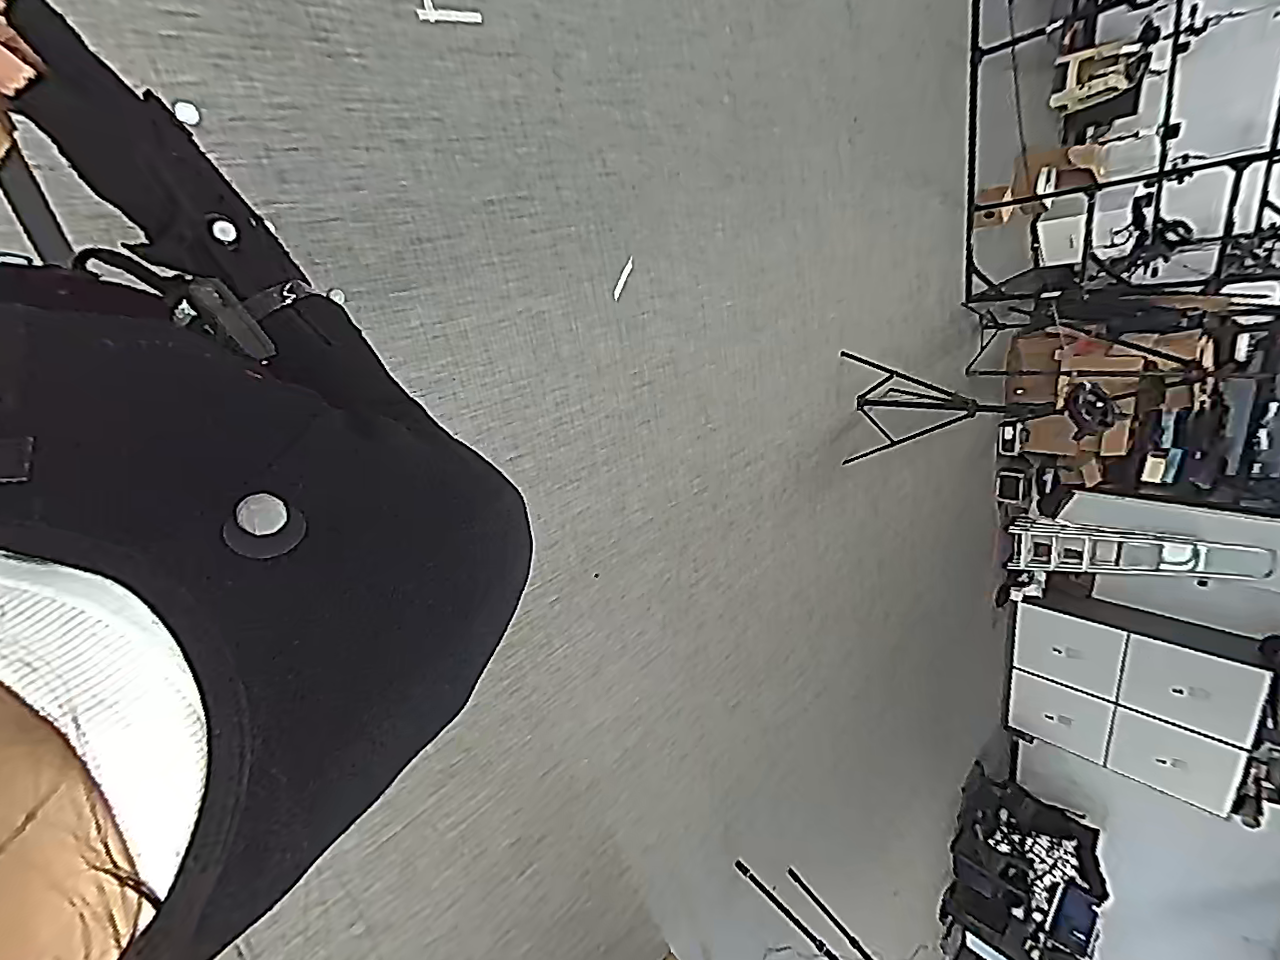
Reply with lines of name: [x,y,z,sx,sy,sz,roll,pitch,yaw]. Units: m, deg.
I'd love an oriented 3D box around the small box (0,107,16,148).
small box: [-0.385,-0.199,0.187,0.168,0.179,0.176,-27,135,-29]
